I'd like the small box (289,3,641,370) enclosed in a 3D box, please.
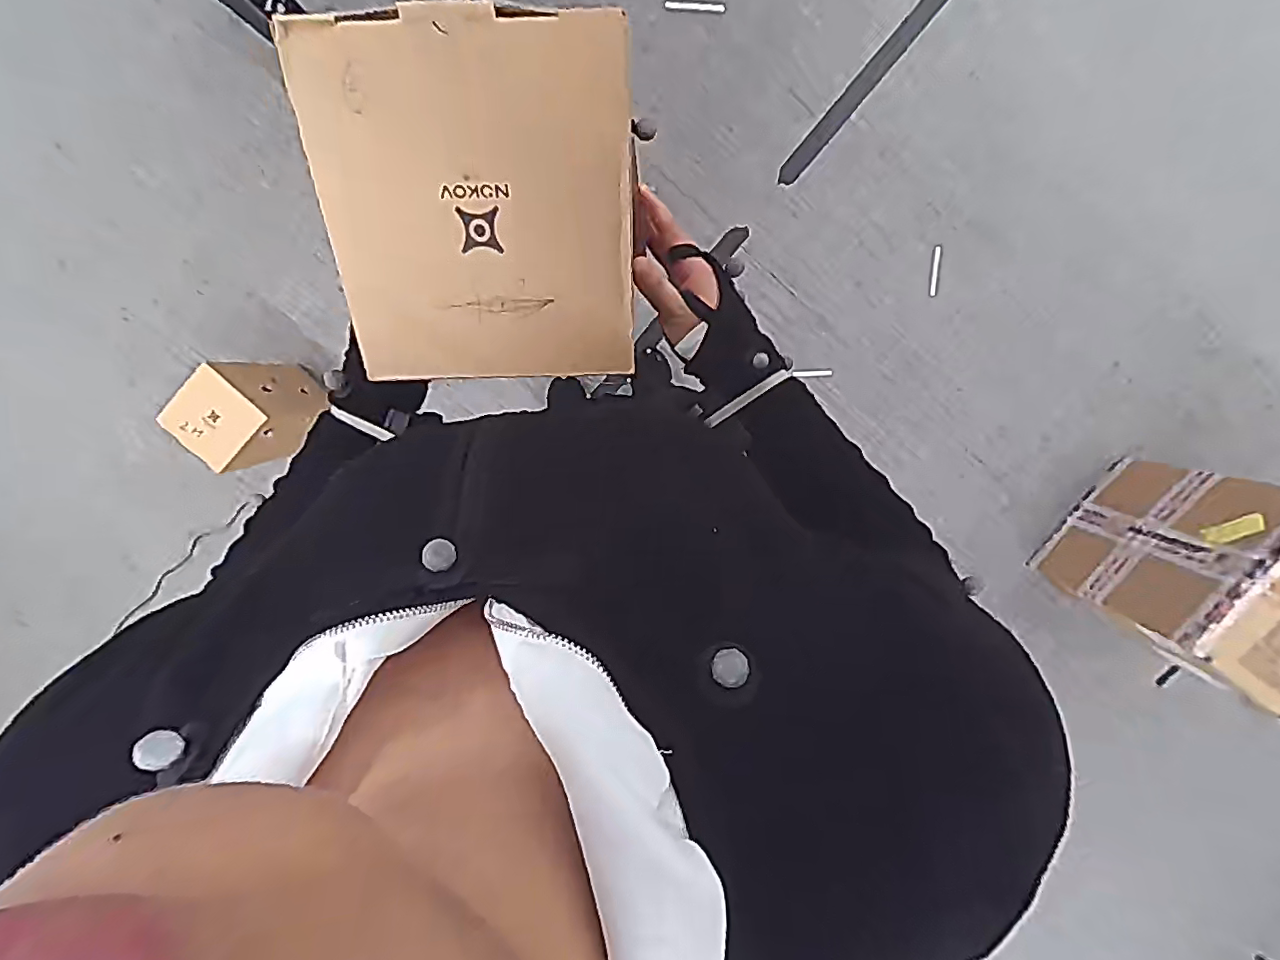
[{"bbox_3d":[-0.084,-0.183,0.361,0.168,0.176,0.179,-1,121,0],"label":"small box"}]

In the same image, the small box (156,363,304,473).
[{"bbox_3d":[-0.897,-0.144,1.208,0.179,0.176,0.168,-44,98,8],"label":"small box"}]

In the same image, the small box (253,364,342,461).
[{"bbox_3d":[-0.910,-0.174,1.370,0.168,0.176,0.179,-41,100,8],"label":"small box"}]
